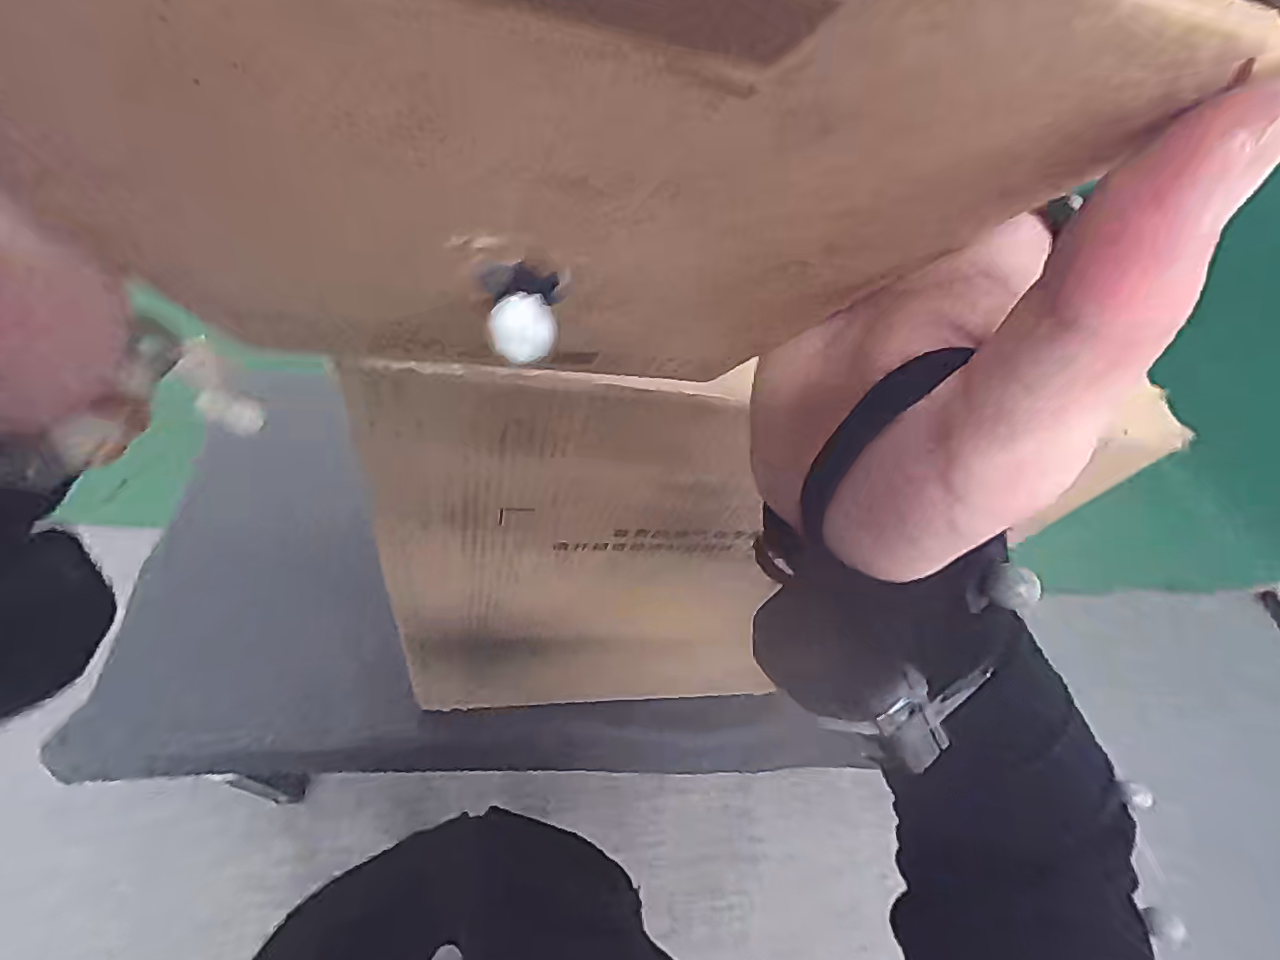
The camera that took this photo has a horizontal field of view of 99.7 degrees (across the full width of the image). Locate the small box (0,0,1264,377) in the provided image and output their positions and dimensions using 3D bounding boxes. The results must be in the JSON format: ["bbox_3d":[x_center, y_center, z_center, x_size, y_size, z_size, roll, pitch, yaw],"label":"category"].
[{"bbox_3d":[-0.039,-0.123,0.113,0.168,0.176,0.179,0,89,-15],"label":"small box"}]
